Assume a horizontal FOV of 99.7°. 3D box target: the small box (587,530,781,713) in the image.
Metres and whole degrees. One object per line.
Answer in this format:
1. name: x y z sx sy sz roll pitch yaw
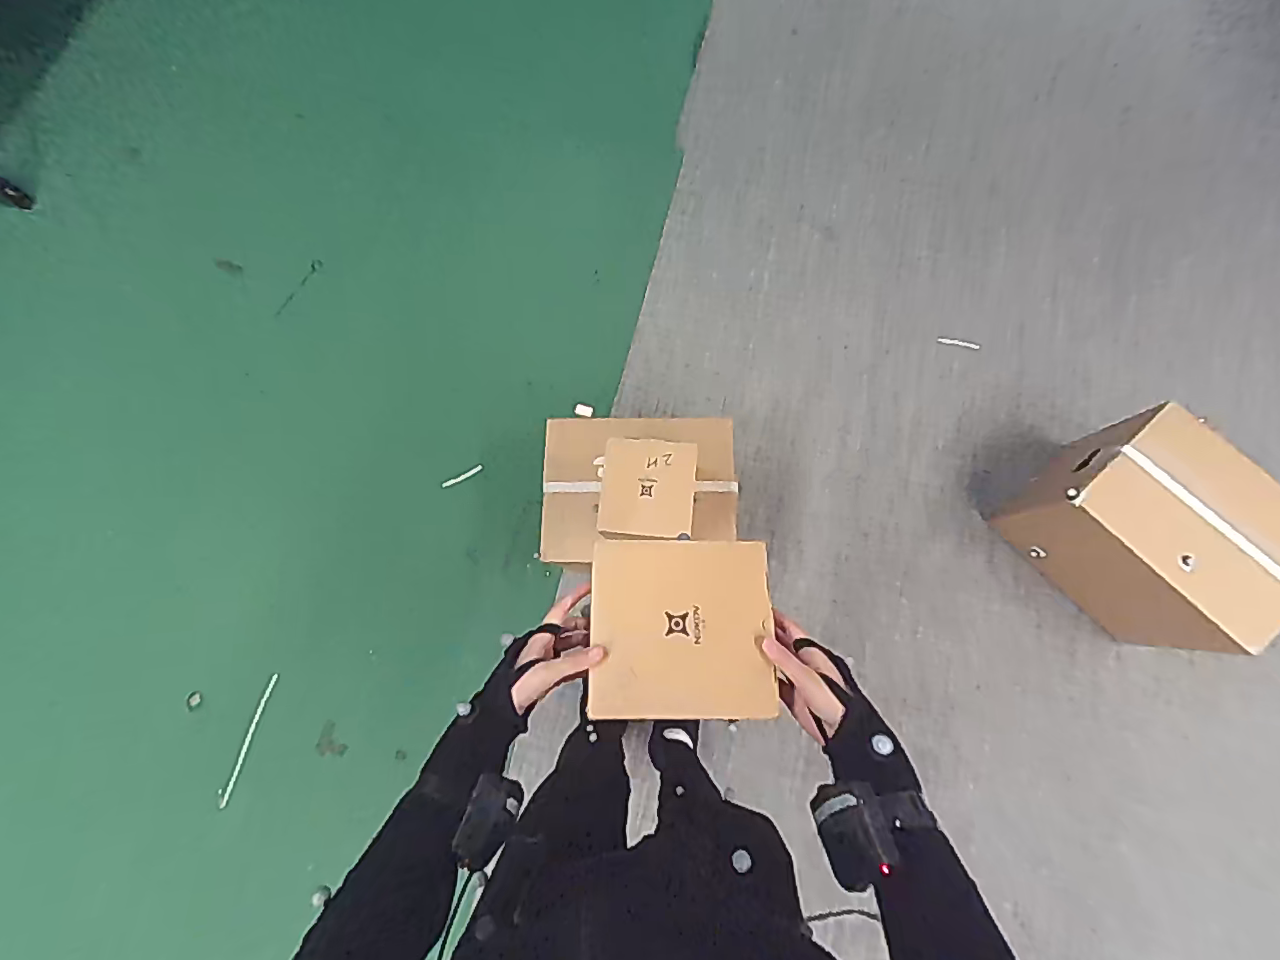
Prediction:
1. small box: 0.037 0.158 0.581 0.179 0.176 0.168 2 67 -3

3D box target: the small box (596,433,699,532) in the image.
1. small box: 0.018 0.025 1.019 0.168 0.176 0.179 6 77 3

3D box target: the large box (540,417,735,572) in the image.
1. large box: 0.006 0.052 1.268 0.408 0.320 0.320 0 76 4
